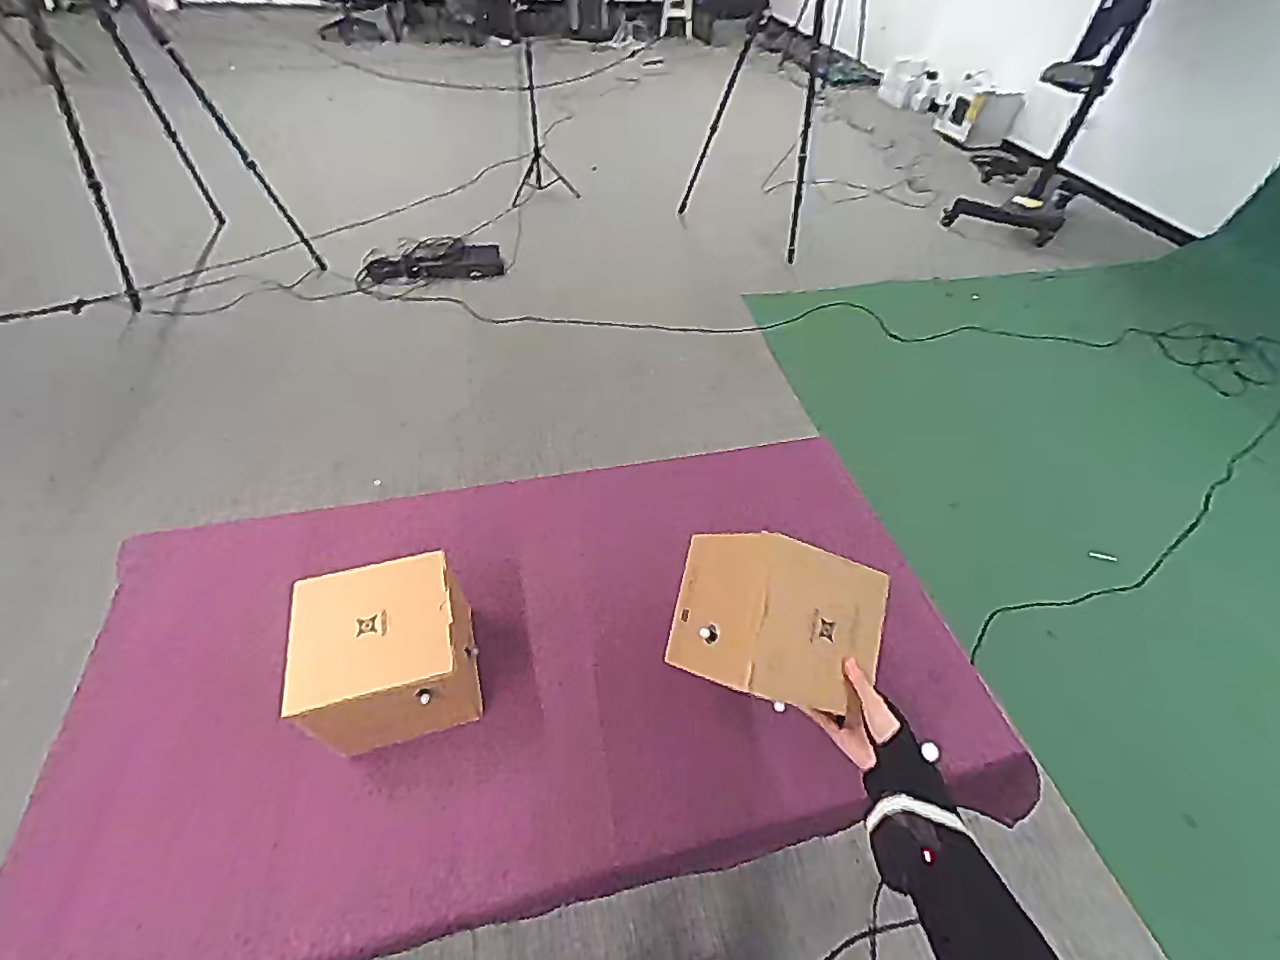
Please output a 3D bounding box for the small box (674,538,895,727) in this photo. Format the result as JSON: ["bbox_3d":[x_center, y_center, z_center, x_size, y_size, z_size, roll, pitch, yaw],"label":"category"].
[{"bbox_3d":[0.165,0.171,0.644,0.179,0.176,0.168,22,77,-25],"label":"small box"}]

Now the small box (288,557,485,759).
[{"bbox_3d":[-0.308,0.228,0.686,0.179,0.176,0.168,-12,51,-14],"label":"small box"}]
